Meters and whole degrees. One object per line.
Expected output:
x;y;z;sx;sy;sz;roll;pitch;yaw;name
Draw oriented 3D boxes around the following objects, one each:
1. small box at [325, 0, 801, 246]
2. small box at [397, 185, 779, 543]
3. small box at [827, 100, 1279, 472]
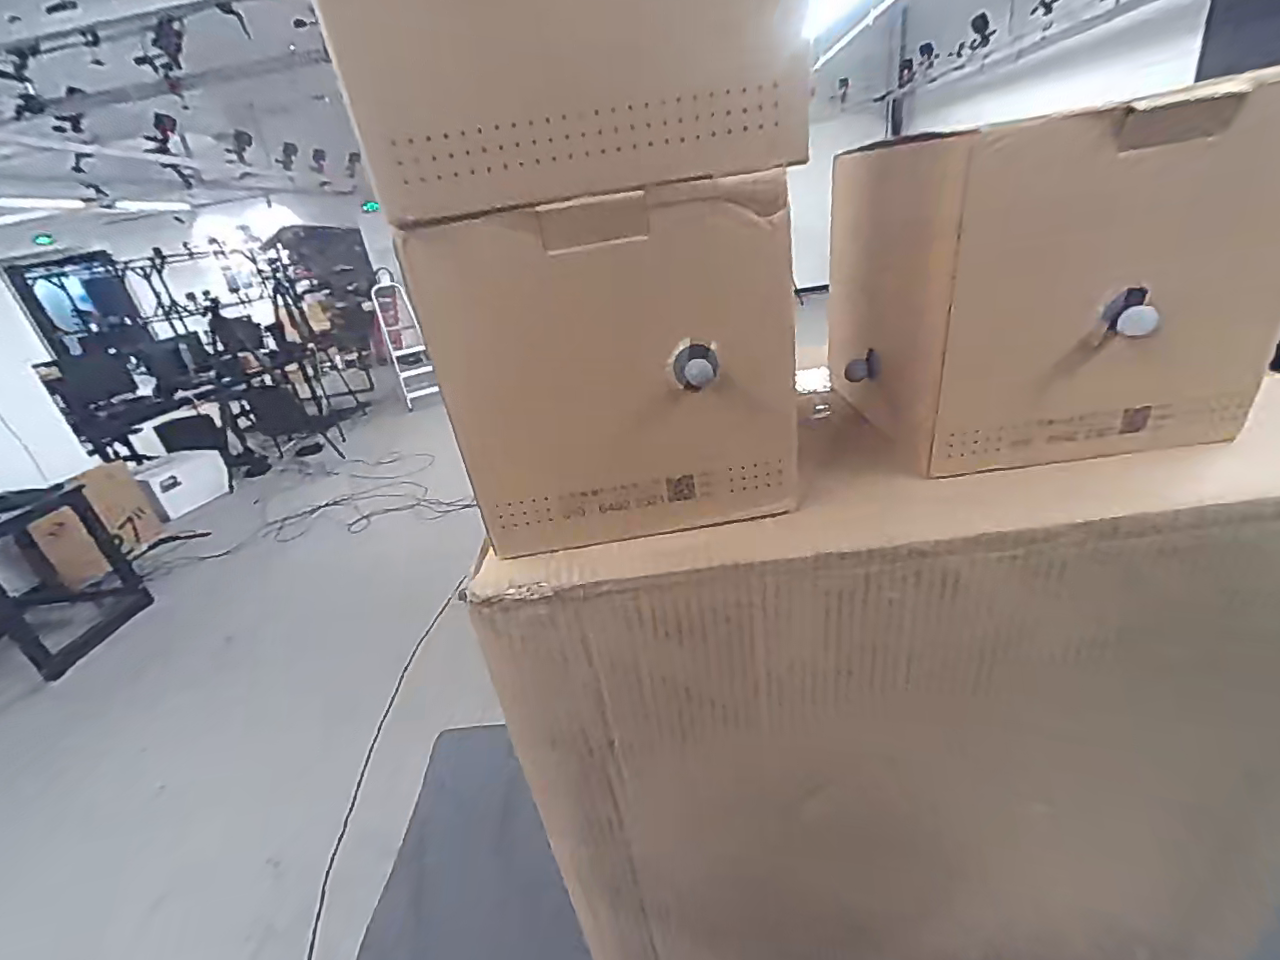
-0.034;-0.214;0.253;0.179;0.176;0.168;-10;29;-7;small box
-0.016;-0.072;0.334;0.168;0.176;0.179;-8;27;0;small box
0.224;-0.113;0.335;0.168;0.176;0.179;-7;28;3;small box
